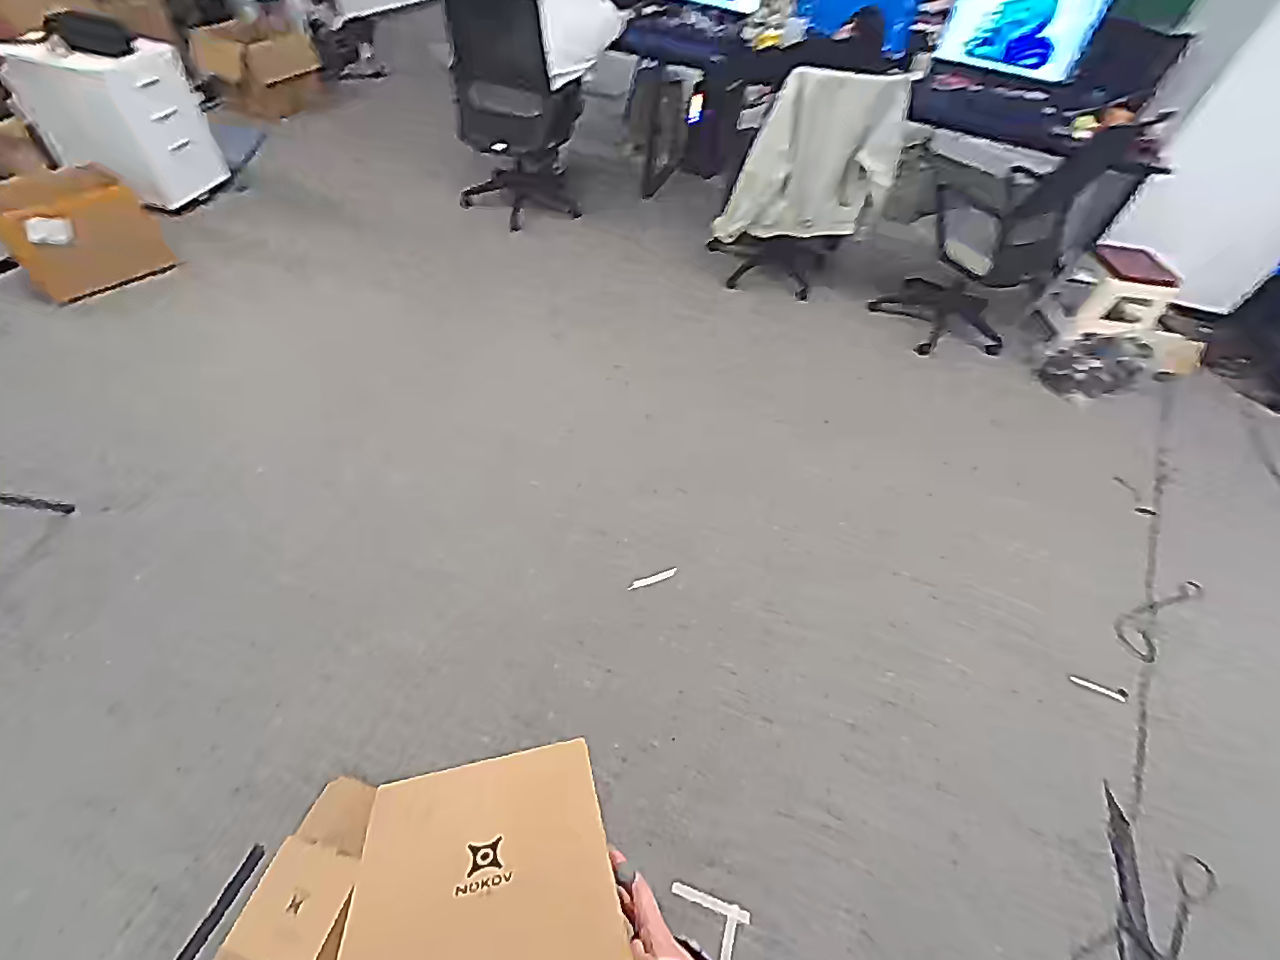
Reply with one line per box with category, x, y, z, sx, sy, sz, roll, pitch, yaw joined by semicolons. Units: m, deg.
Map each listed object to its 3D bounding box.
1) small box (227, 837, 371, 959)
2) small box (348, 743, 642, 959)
small box;-0.617;0.816;1.031;0.168;0.176;0.179;14;50;6
small box;-0.093;0.330;0.382;0.168;0.176;0.179;-7;22;-12
